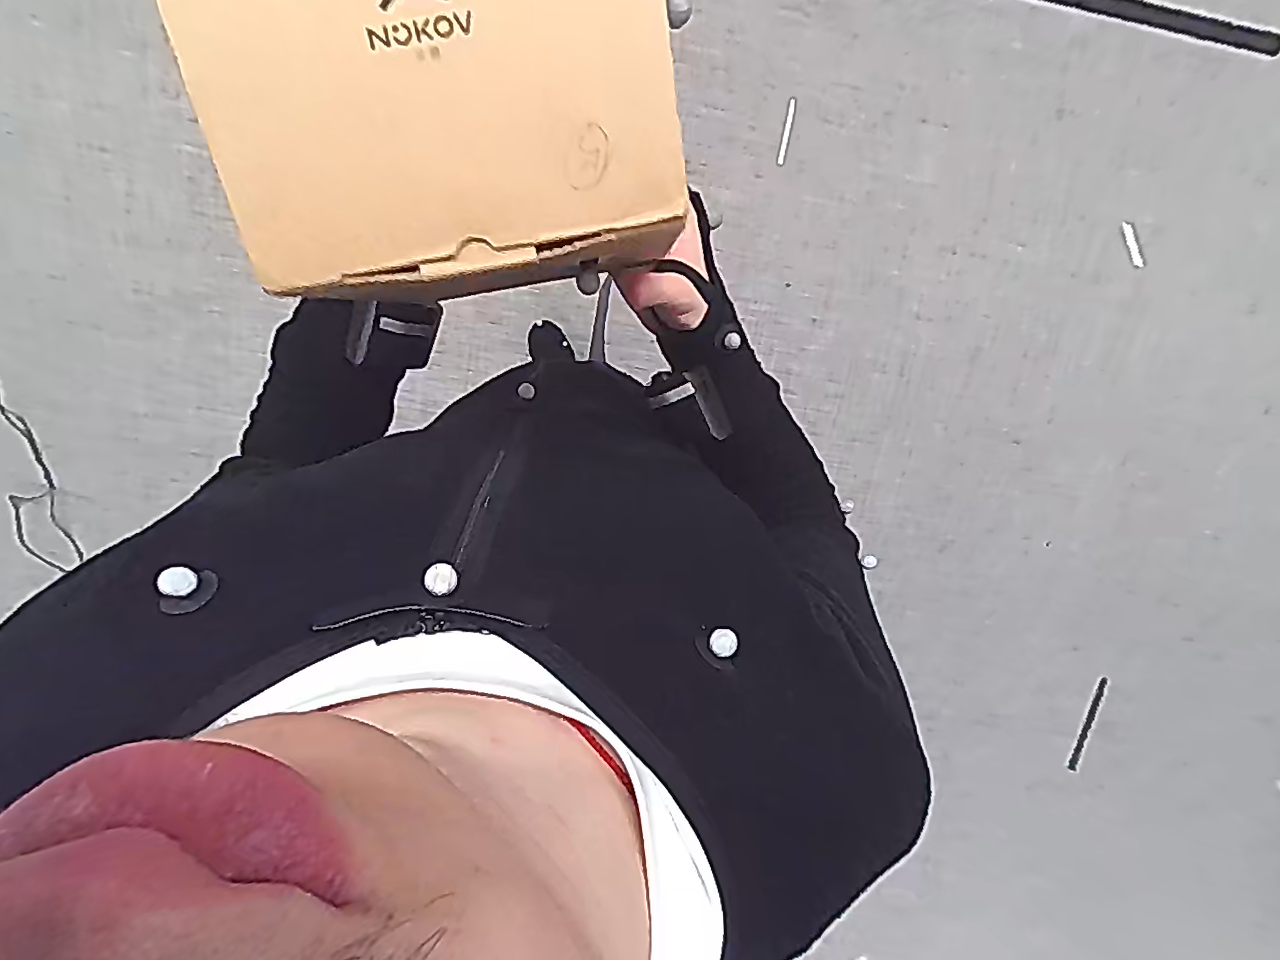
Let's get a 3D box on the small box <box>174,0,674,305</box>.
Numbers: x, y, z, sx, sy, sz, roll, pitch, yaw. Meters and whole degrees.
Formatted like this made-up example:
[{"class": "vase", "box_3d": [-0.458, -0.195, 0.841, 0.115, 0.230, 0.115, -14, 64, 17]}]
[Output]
[{"class": "small box", "box_3d": [-0.080, -0.189, 0.266, 0.168, 0.176, 0.179, -10, 107, 0]}]
